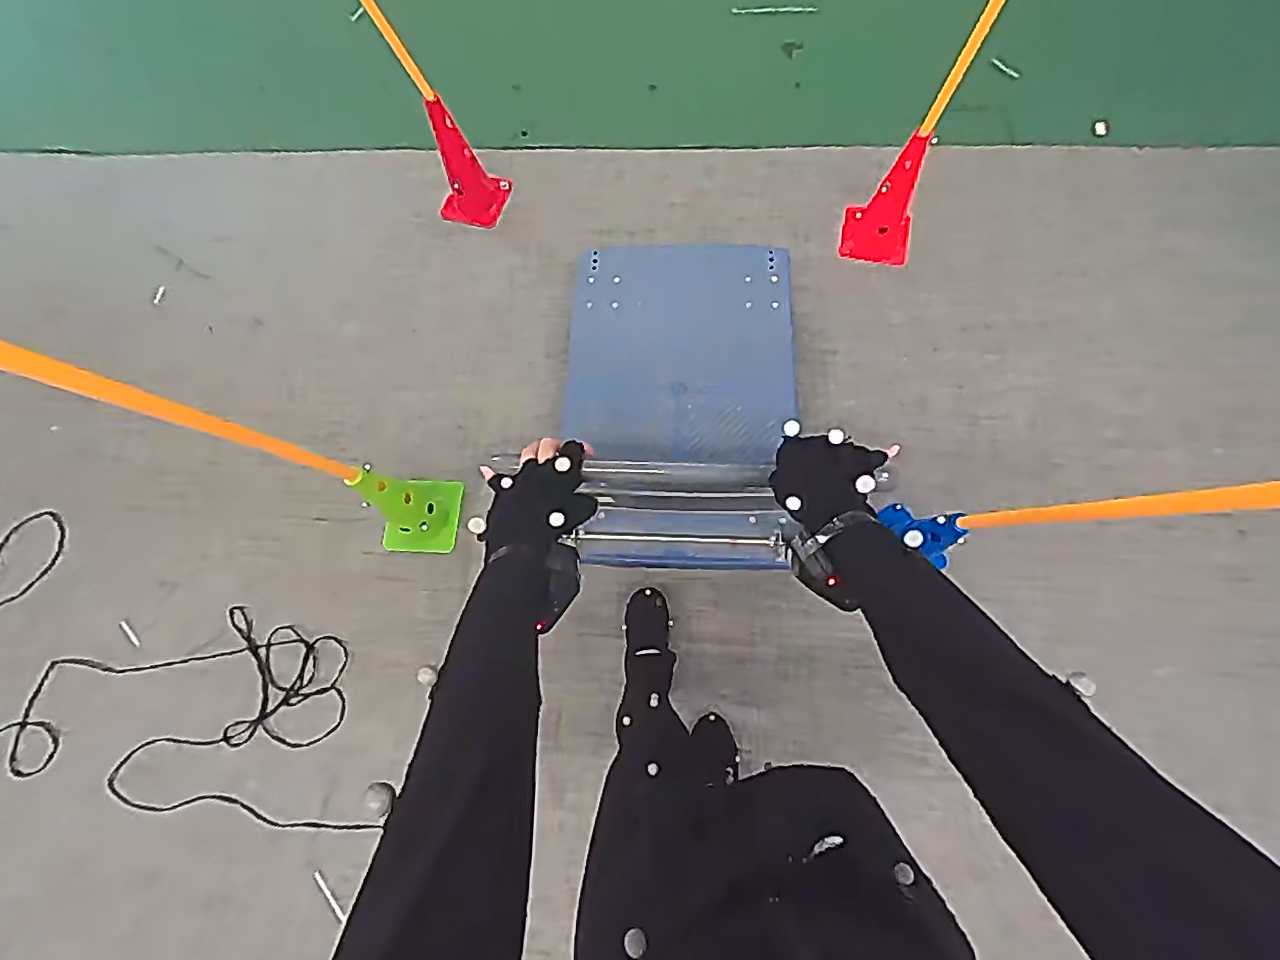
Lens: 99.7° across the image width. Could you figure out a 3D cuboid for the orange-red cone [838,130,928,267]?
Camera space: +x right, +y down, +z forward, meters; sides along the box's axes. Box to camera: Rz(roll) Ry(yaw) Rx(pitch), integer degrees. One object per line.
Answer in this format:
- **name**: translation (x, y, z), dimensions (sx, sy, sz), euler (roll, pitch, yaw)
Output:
- **orange-red cone**: translation (0.711, -0.799, 1.505), dimensions (0.198, 0.360, 0.199), euler (13, 74, 8)
